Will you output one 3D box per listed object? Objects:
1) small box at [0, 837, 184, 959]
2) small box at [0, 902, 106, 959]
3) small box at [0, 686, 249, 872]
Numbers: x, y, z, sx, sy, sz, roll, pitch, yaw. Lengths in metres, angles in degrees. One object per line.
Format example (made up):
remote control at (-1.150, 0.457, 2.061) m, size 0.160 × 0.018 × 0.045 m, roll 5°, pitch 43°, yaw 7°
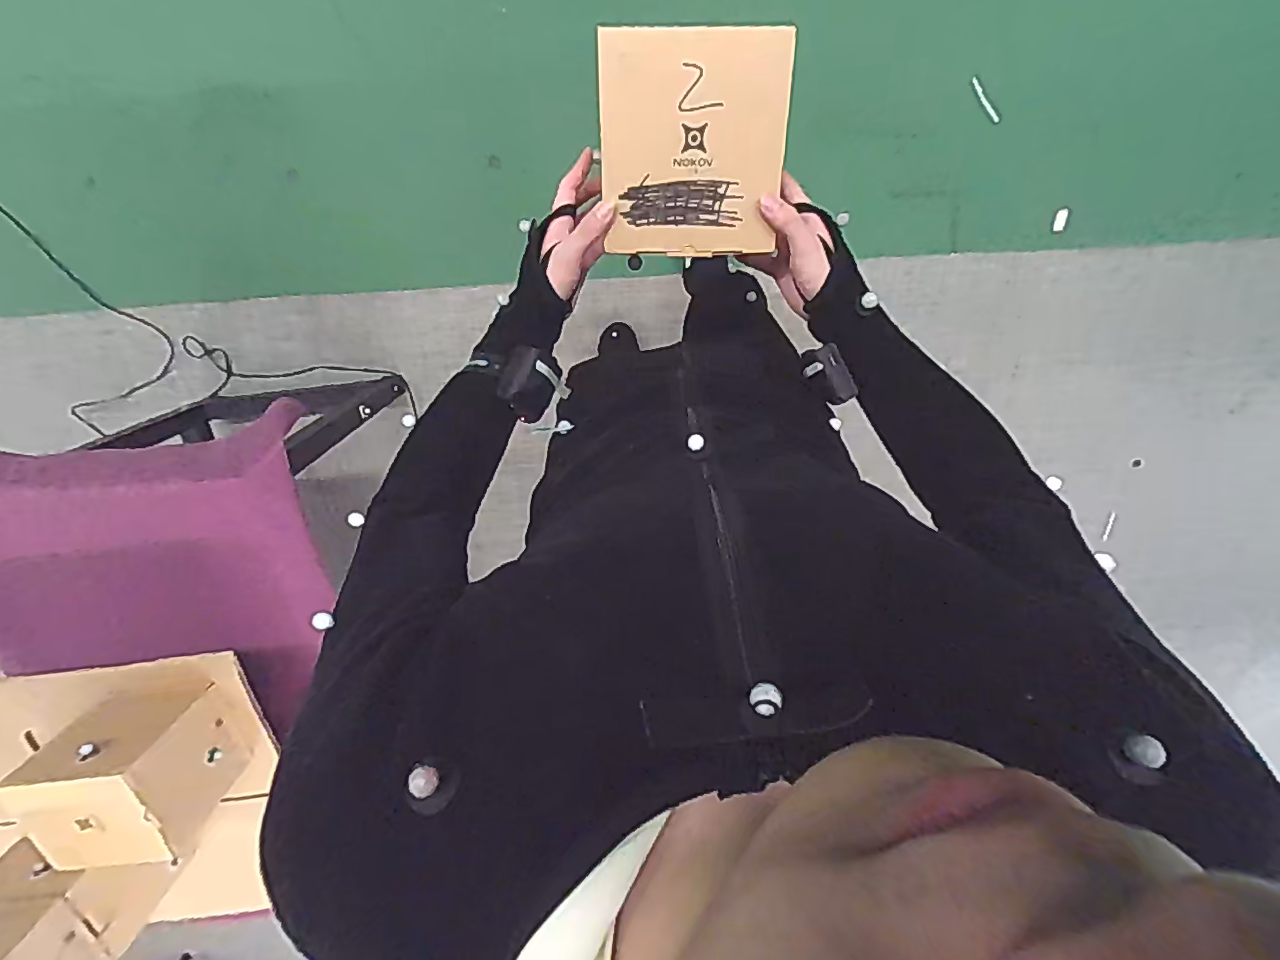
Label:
small box at (-0.891, 0.643, 0.869) m, size 0.179 × 0.176 × 0.168 m, roll -7°, pitch 111°, yaw 2°
small box at (-0.890, 0.704, 0.717) m, size 0.179 × 0.176 × 0.168 m, roll -7°, pitch 112°, yaw 1°
small box at (-0.732, 0.427, 0.790) m, size 0.179 × 0.176 × 0.168 m, roll -7°, pitch 112°, yaw 0°
